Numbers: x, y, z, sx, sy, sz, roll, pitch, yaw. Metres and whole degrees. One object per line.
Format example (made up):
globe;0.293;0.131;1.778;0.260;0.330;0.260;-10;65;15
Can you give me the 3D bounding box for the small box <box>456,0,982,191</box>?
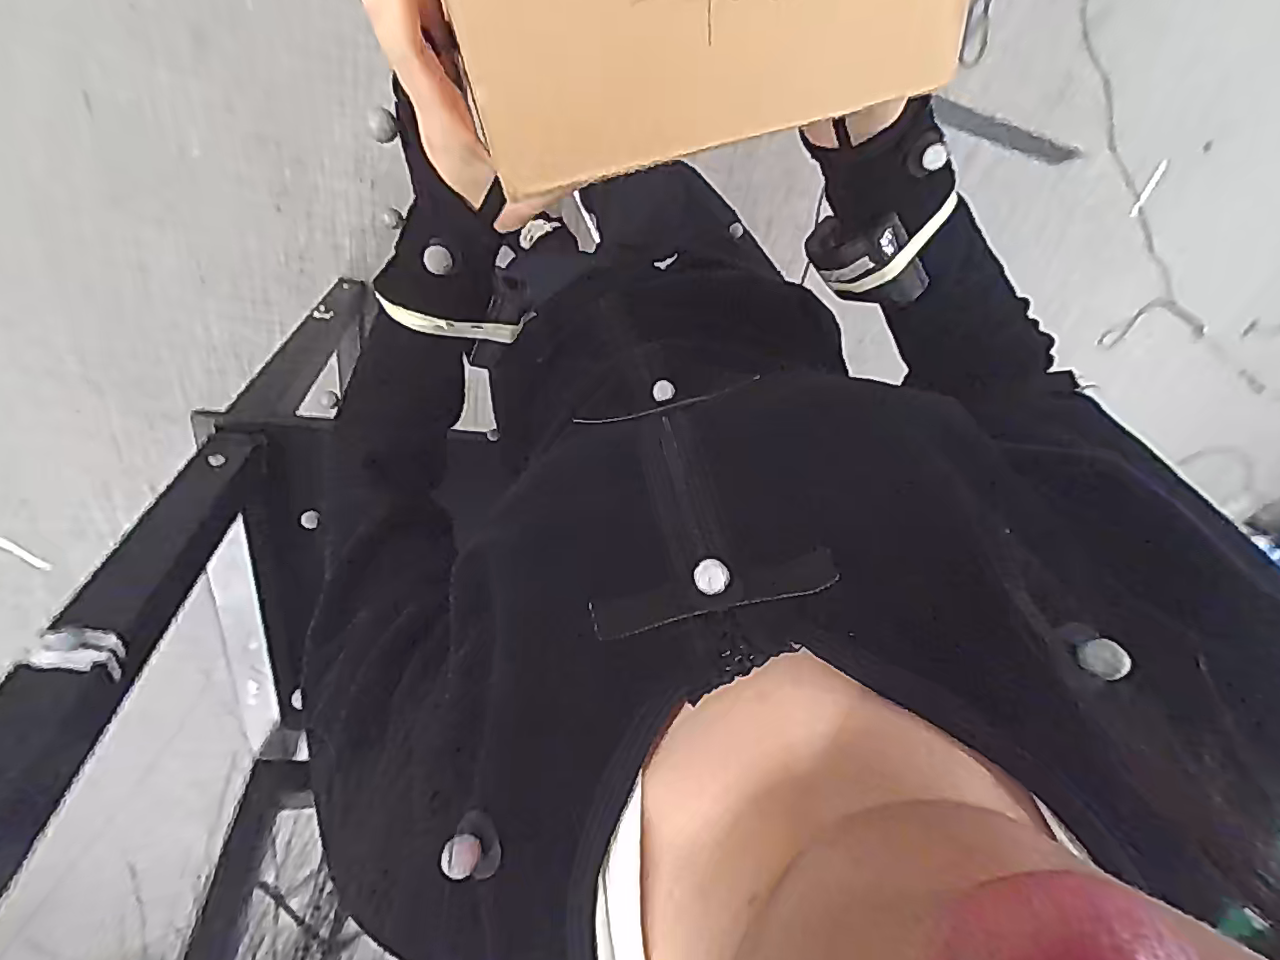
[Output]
small box;0.006;-0.229;0.196;0.168;0.176;0.179;-16;130;-6
